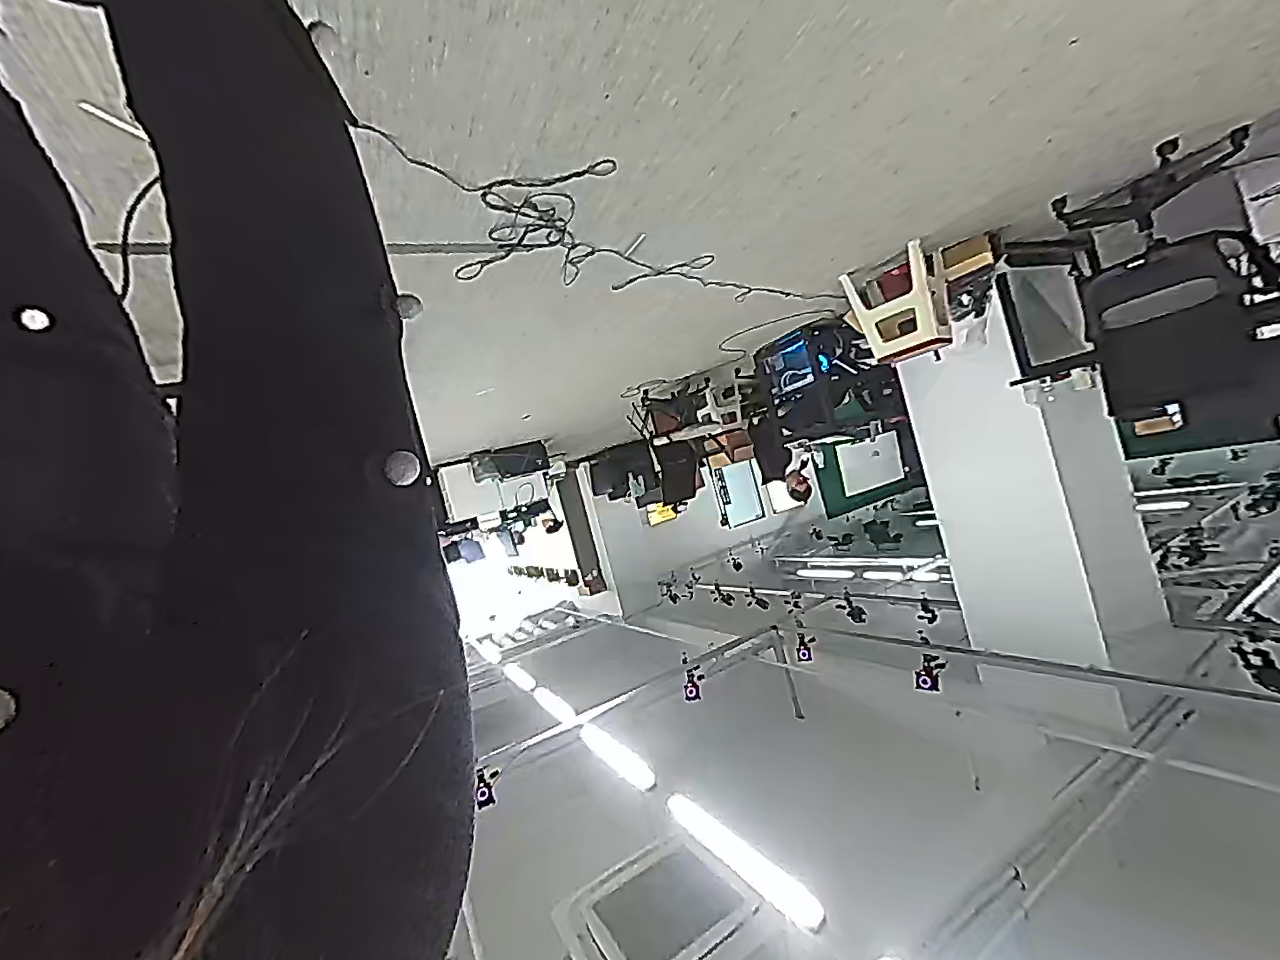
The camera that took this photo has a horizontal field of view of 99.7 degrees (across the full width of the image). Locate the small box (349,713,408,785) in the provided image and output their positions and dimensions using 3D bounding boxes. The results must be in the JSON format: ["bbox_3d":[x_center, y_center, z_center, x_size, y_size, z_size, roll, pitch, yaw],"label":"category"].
[{"bbox_3d":[-0.985,1.001,2.034,0.168,0.176,0.179,-15,179,-27],"label":"small box"}]
